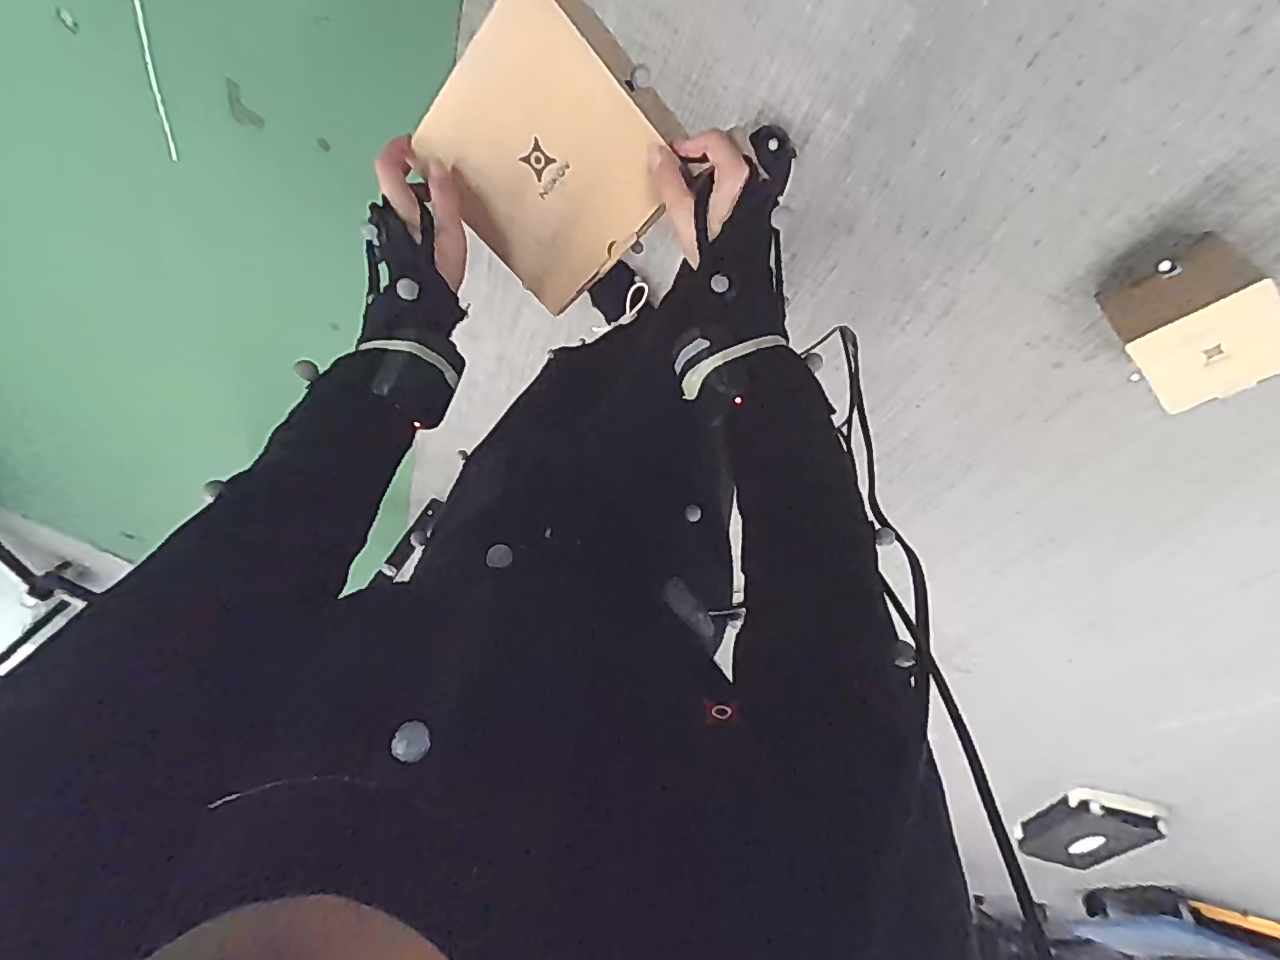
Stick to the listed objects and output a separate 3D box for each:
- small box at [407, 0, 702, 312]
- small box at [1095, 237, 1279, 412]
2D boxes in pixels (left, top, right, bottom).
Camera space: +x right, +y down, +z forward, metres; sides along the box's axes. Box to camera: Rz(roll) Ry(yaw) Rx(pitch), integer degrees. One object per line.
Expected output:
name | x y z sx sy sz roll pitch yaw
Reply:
small box | -0.062 -0.289 0.489 0.168 0.176 0.179 -37 110 29
small box | 0.882 -0.249 0.866 0.179 0.176 0.168 39 134 -17
